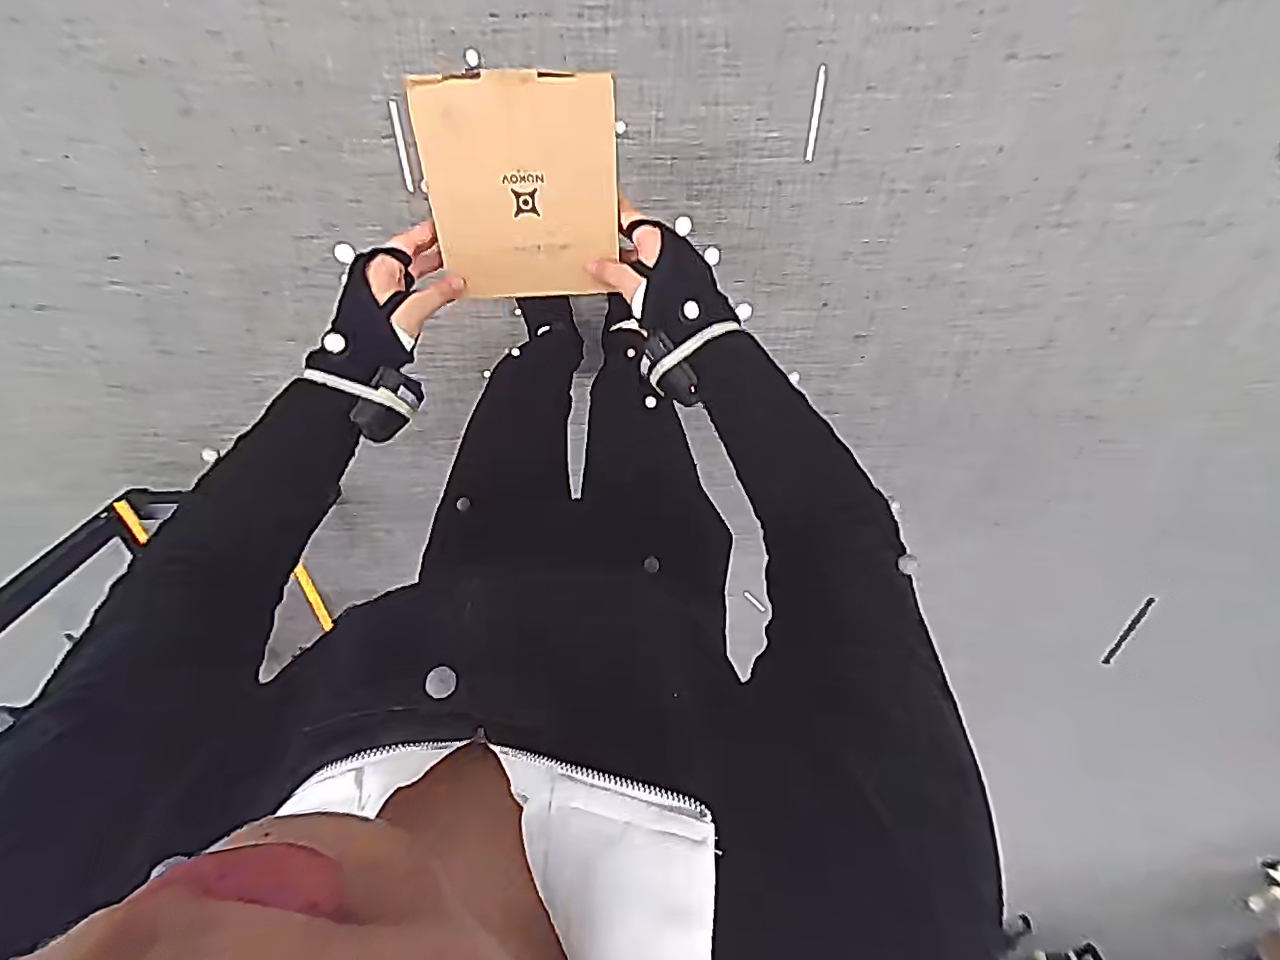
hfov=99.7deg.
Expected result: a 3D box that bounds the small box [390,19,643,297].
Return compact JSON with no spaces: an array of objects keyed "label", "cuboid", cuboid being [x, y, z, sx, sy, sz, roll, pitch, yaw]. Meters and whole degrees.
[{"label":"small box","cuboid":[-0.088,-0.276,0.462,0.168,0.176,0.179,-5,130,-4]}]
